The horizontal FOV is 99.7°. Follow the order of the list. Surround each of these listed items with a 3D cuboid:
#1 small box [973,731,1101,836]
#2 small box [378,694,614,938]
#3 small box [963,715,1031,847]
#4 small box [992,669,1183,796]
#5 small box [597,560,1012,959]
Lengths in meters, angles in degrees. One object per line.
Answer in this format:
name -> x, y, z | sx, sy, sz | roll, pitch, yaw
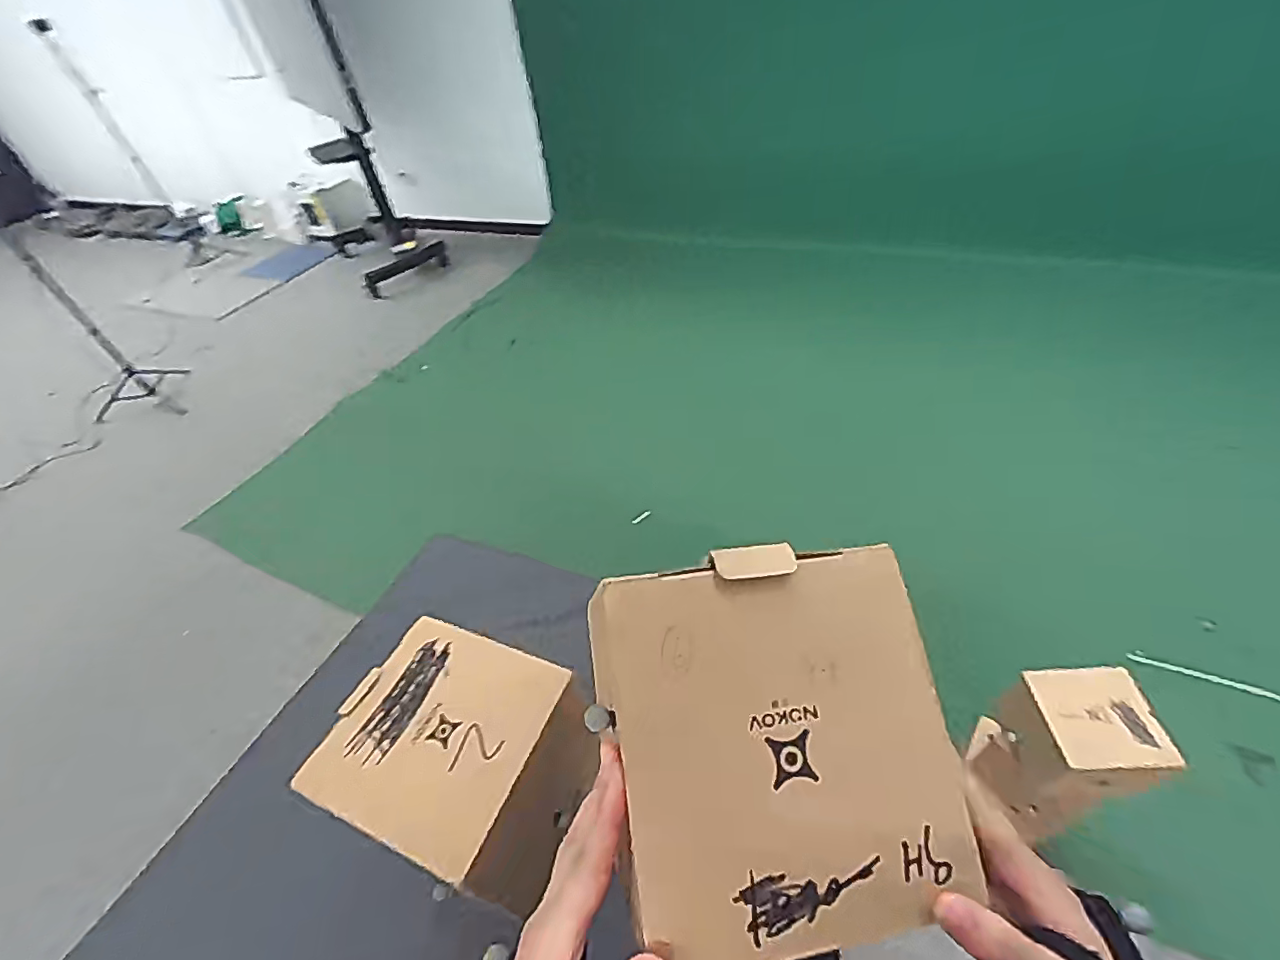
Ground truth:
small box -> 0.805, 0.571, 1.081 | 0.179, 0.176, 0.168 | -25, 49, -17
small box -> -0.141, 0.377, 0.608 | 0.179, 0.176, 0.168 | 12, 48, 21
small box -> 0.795, 0.675, 1.209 | 0.168, 0.176, 0.179 | 27, 55, 30
small box -> 0.780, 0.453, 0.968 | 0.179, 0.176, 0.168 | -5, 46, 5
small box -> 0.067, 0.155, 0.330 | 0.168, 0.176, 0.179 | -5, 74, -10
